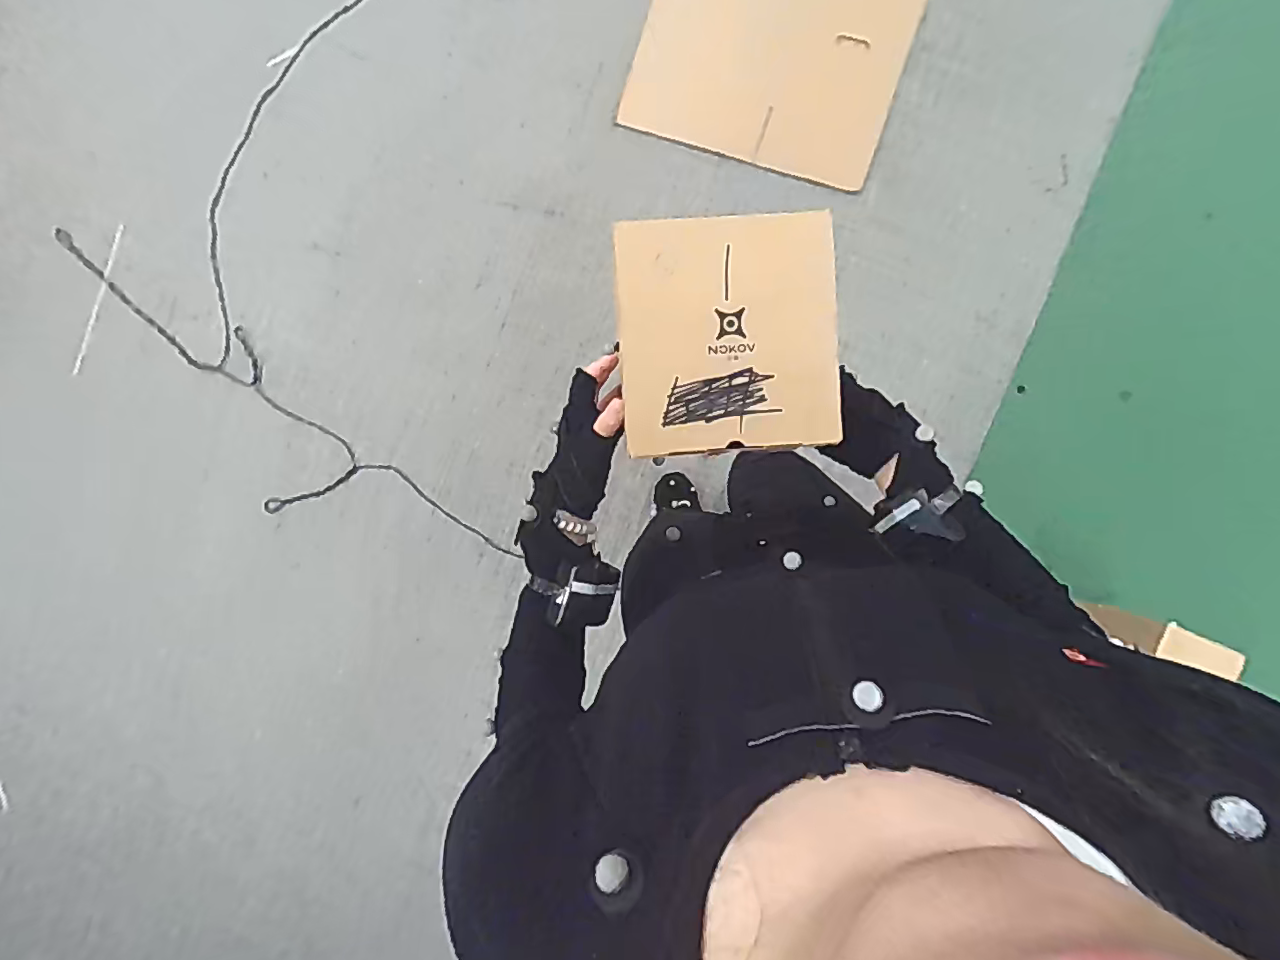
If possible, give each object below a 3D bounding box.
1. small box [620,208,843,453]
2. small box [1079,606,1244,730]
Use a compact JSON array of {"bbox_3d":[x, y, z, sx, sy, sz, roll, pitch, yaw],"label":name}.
[{"bbox_3d":[0.069,-0.119,0.485,0.168,0.176,0.179,-3,94,-2],"label":"small box"},{"bbox_3d":[1.120,0.398,1.179,0.168,0.176,0.179,24,92,4],"label":"small box"}]
